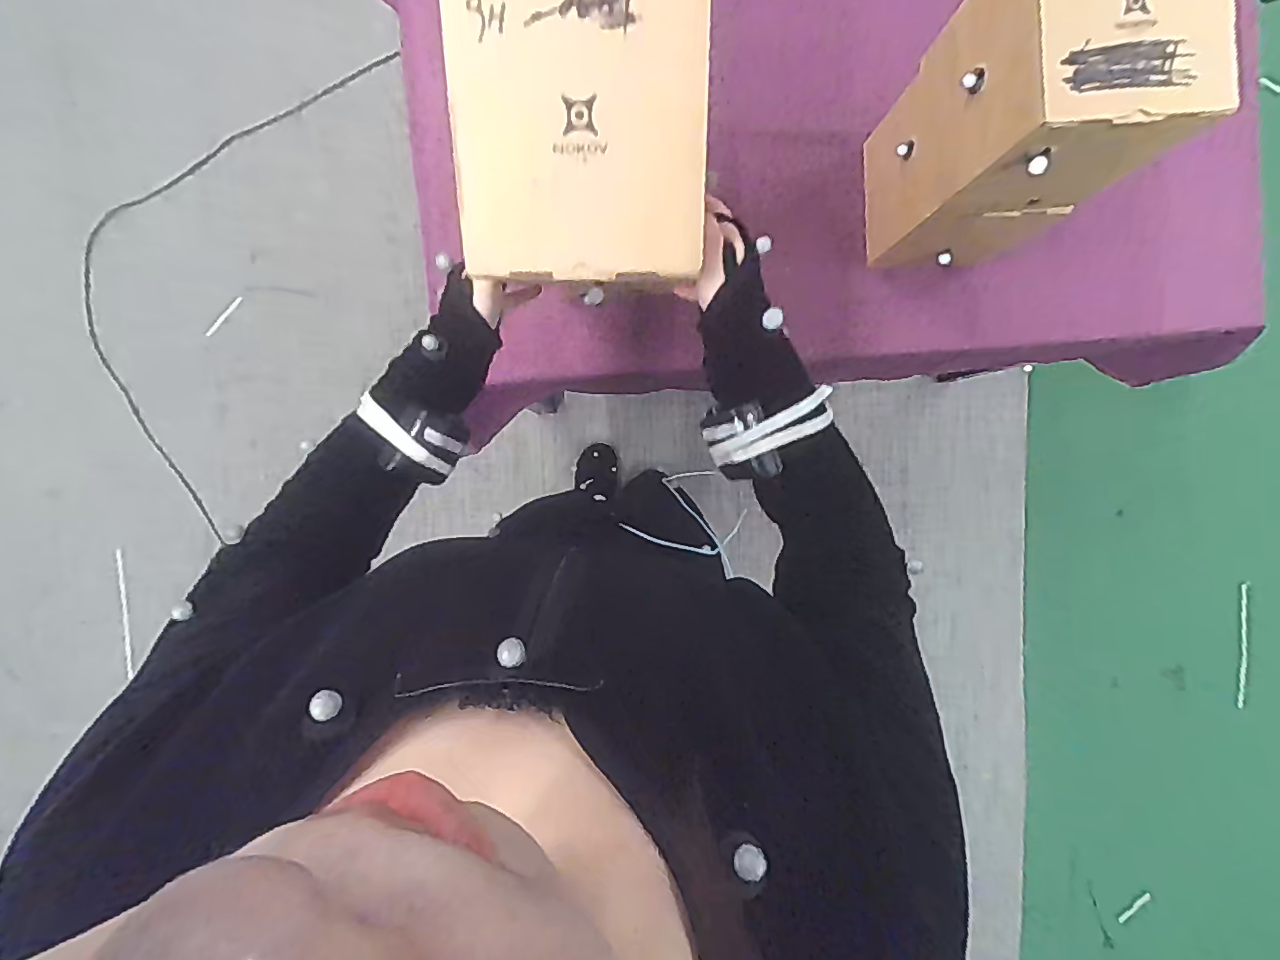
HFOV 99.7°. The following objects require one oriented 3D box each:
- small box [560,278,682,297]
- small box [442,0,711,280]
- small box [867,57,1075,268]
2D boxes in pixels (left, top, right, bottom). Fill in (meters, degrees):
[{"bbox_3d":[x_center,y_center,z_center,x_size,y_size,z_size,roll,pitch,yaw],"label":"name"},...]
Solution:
[{"bbox_3d":[-0.028,-0.339,0.676,0.168,0.176,0.179,-5,92,-2],"label":"small box"},{"bbox_3d":[-0.036,-0.250,0.422,0.168,0.176,0.179,0,109,2],"label":"small box"},{"bbox_3d":[0.403,-0.387,0.685,0.168,0.176,0.179,-2,93,-1],"label":"small box"}]
